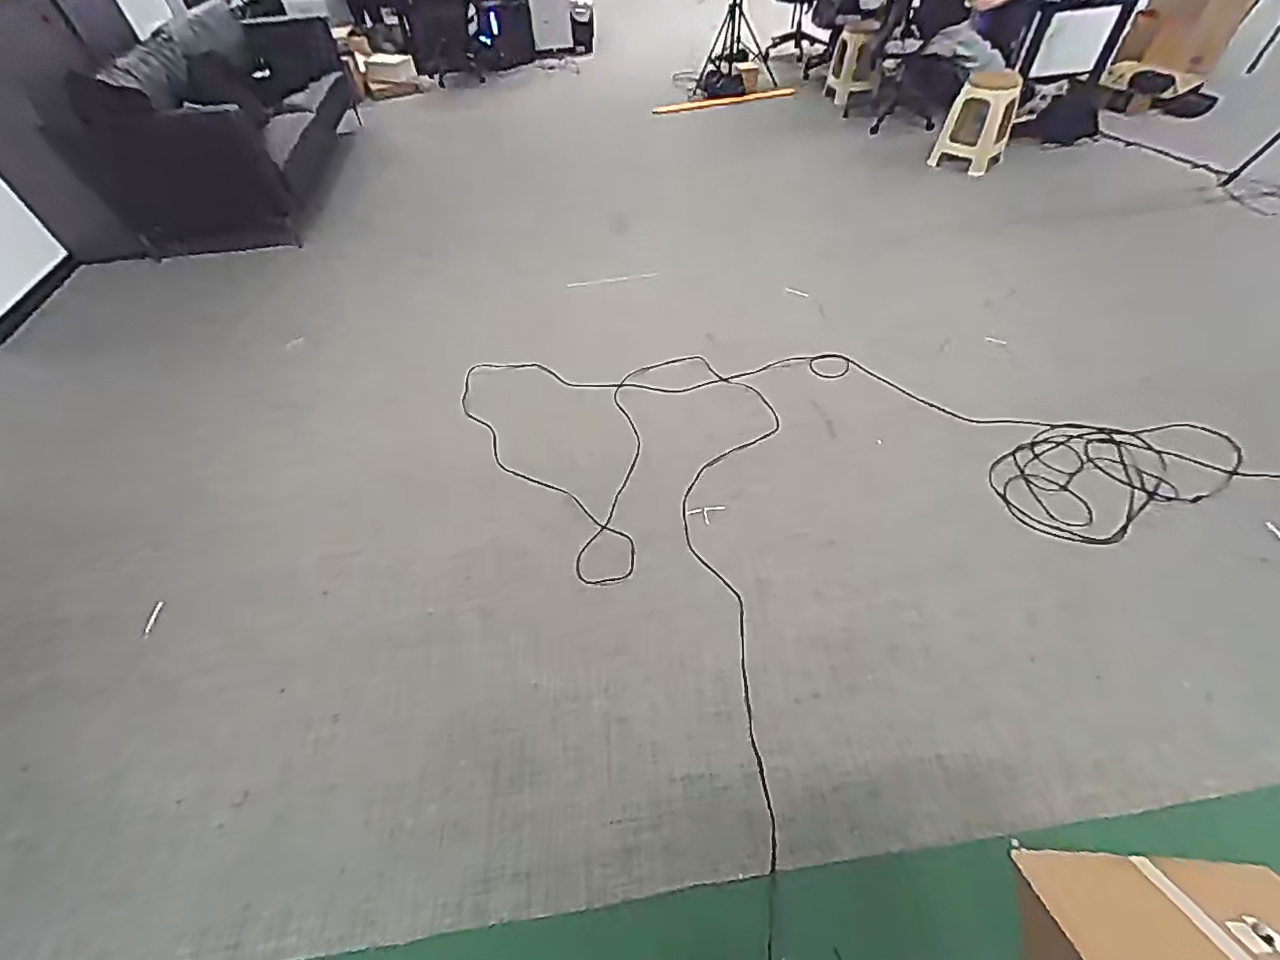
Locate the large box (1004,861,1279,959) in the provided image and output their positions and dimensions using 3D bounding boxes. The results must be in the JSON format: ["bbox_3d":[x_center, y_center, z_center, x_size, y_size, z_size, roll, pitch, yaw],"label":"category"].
[{"bbox_3d":[0.649,0.689,0.557,0.320,0.408,0.320,-3,88,12],"label":"large box"}]
